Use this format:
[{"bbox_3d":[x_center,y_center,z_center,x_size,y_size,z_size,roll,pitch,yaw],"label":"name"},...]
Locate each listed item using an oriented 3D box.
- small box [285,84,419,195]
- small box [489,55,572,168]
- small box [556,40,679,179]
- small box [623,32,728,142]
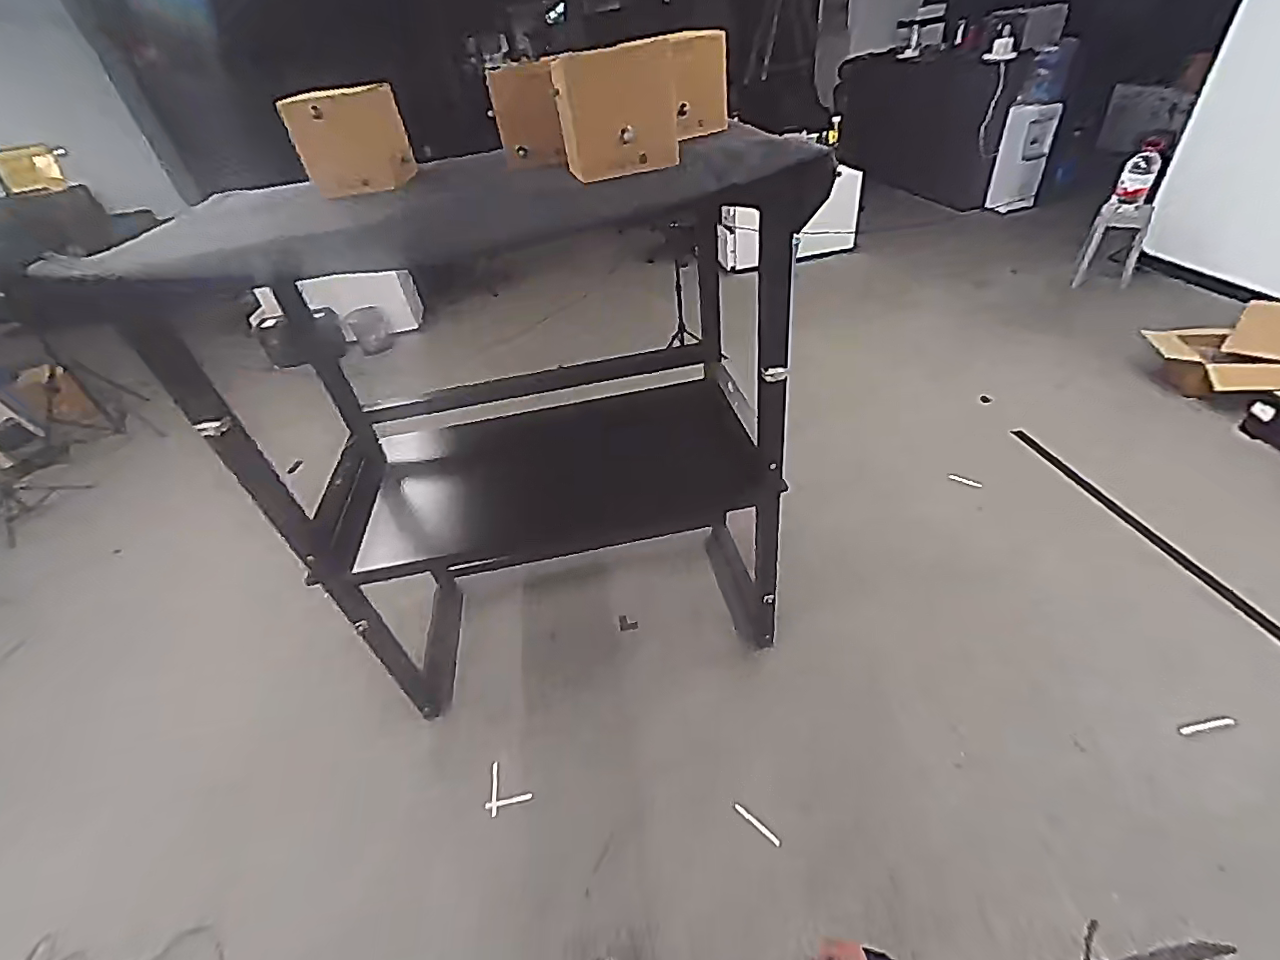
[{"bbox_3d":[-0.577,-0.700,1.114,0.168,0.176,0.179,-8,39,1],"label":"small box"},{"bbox_3d":[-0.203,-0.752,1.109,0.168,0.176,0.179,-12,39,-4],"label":"small box"},{"bbox_3d":[-0.038,-0.618,0.910,0.168,0.176,0.179,-14,38,-6],"label":"small box"},{"bbox_3d":[0.074,-0.823,1.139,0.168,0.176,0.179,-19,42,-11],"label":"small box"}]
